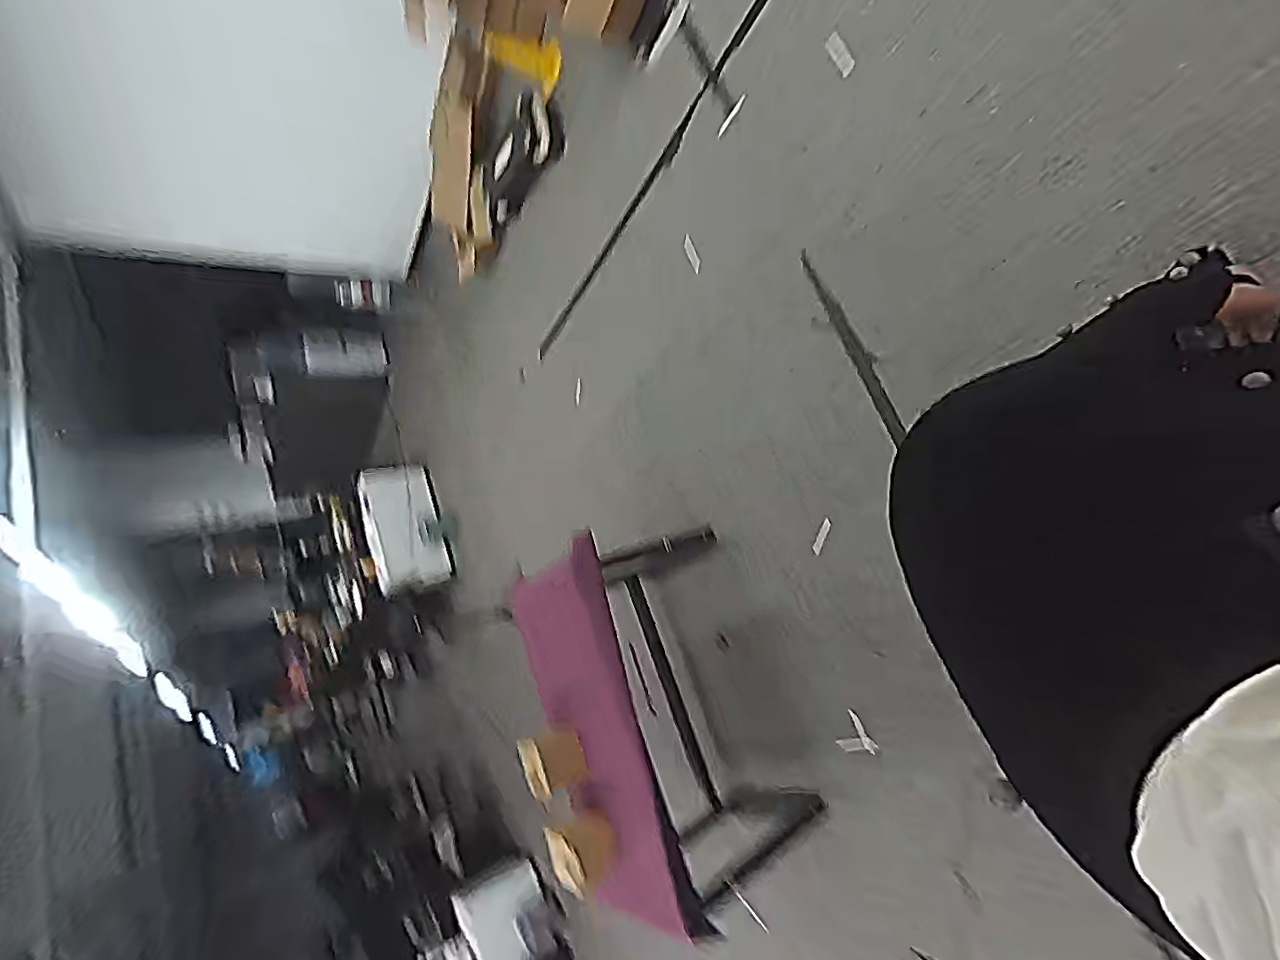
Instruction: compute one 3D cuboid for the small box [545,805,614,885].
[{"bbox_3d":[-0.210,1.294,1.931,0.179,0.176,0.168,-29,74,51],"label":"small box"}]
